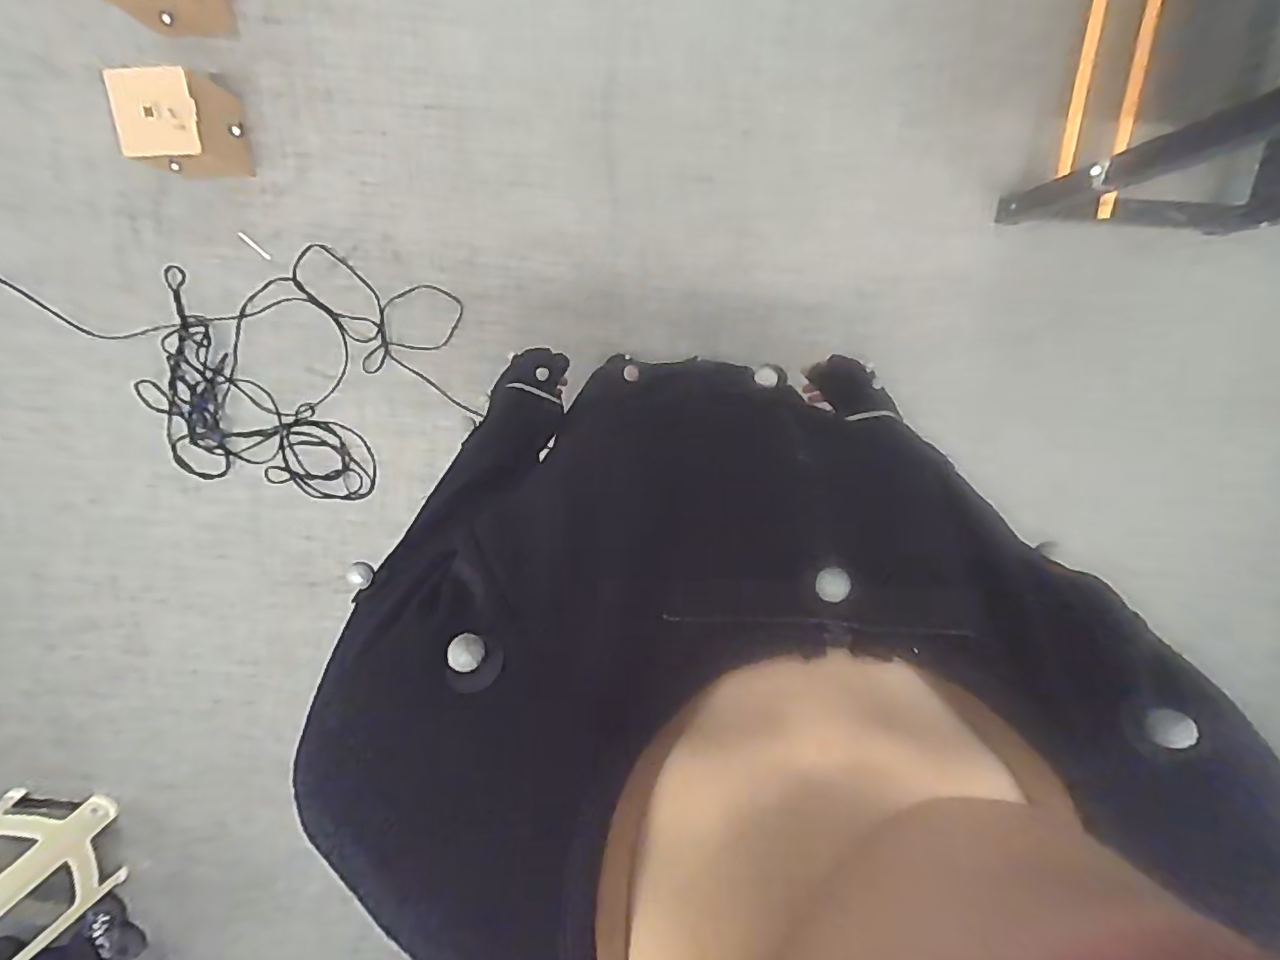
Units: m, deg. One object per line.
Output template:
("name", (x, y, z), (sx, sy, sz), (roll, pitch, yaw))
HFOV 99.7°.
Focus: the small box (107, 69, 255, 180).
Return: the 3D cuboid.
("small box", (-1.022, -0.791, 1.220), (0.179, 0.176, 0.168), (-2, 105, 0))
